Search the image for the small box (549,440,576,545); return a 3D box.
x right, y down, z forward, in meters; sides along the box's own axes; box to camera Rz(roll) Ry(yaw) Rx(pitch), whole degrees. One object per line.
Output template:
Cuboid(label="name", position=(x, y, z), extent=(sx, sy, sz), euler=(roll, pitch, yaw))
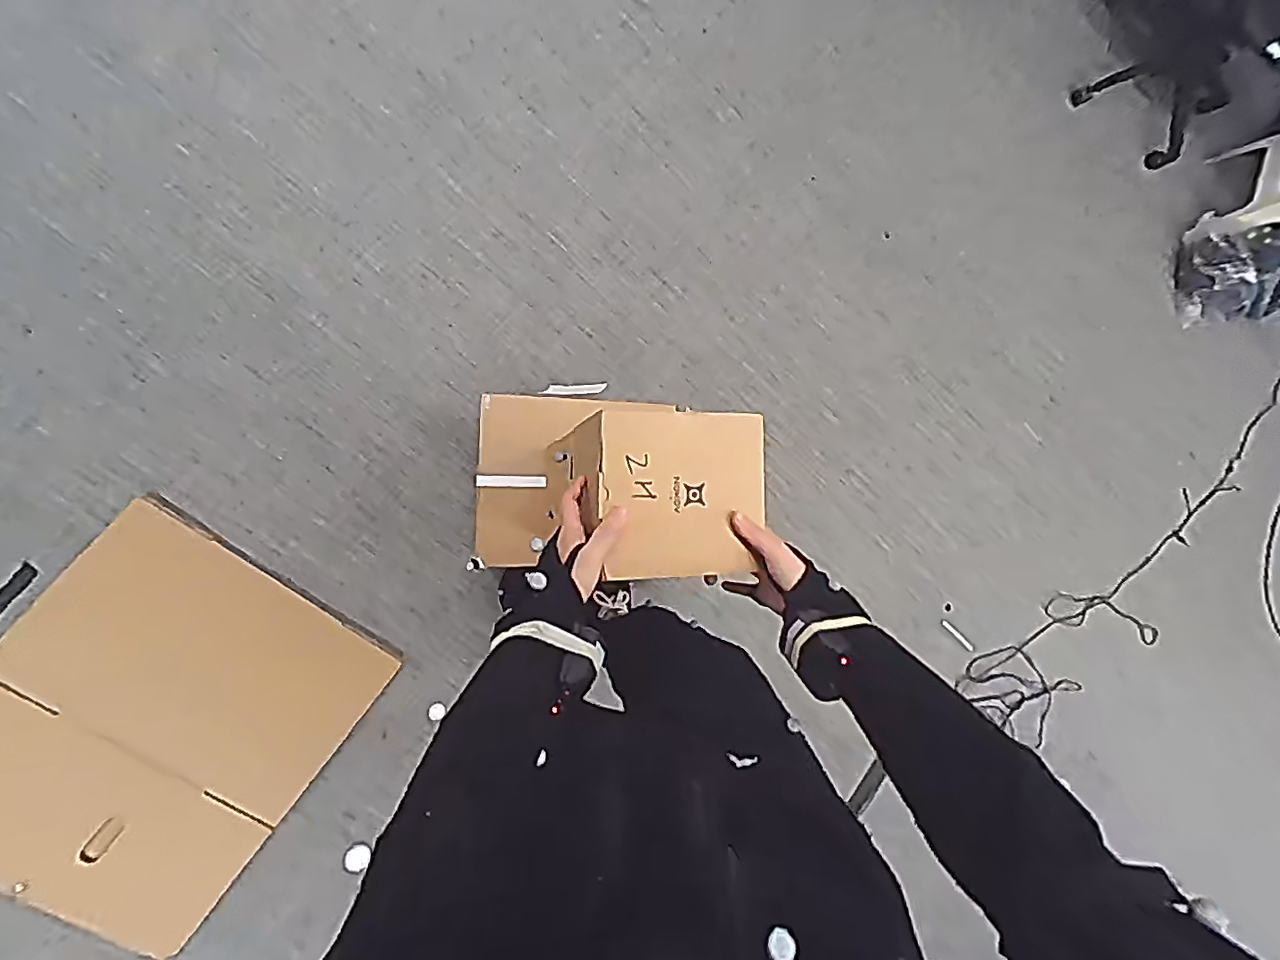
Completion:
Cuboid(label="small box", position=(-0.062, 0.021, 0.930), extent=(0.179, 0.176, 0.168), euler=(-2, 90, -17))

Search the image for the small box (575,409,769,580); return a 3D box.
Cuboid(label="small box", position=(0.027, 0.015, 0.613), extent=(0.179, 0.176, 0.168), euler=(0, 89, -16))
